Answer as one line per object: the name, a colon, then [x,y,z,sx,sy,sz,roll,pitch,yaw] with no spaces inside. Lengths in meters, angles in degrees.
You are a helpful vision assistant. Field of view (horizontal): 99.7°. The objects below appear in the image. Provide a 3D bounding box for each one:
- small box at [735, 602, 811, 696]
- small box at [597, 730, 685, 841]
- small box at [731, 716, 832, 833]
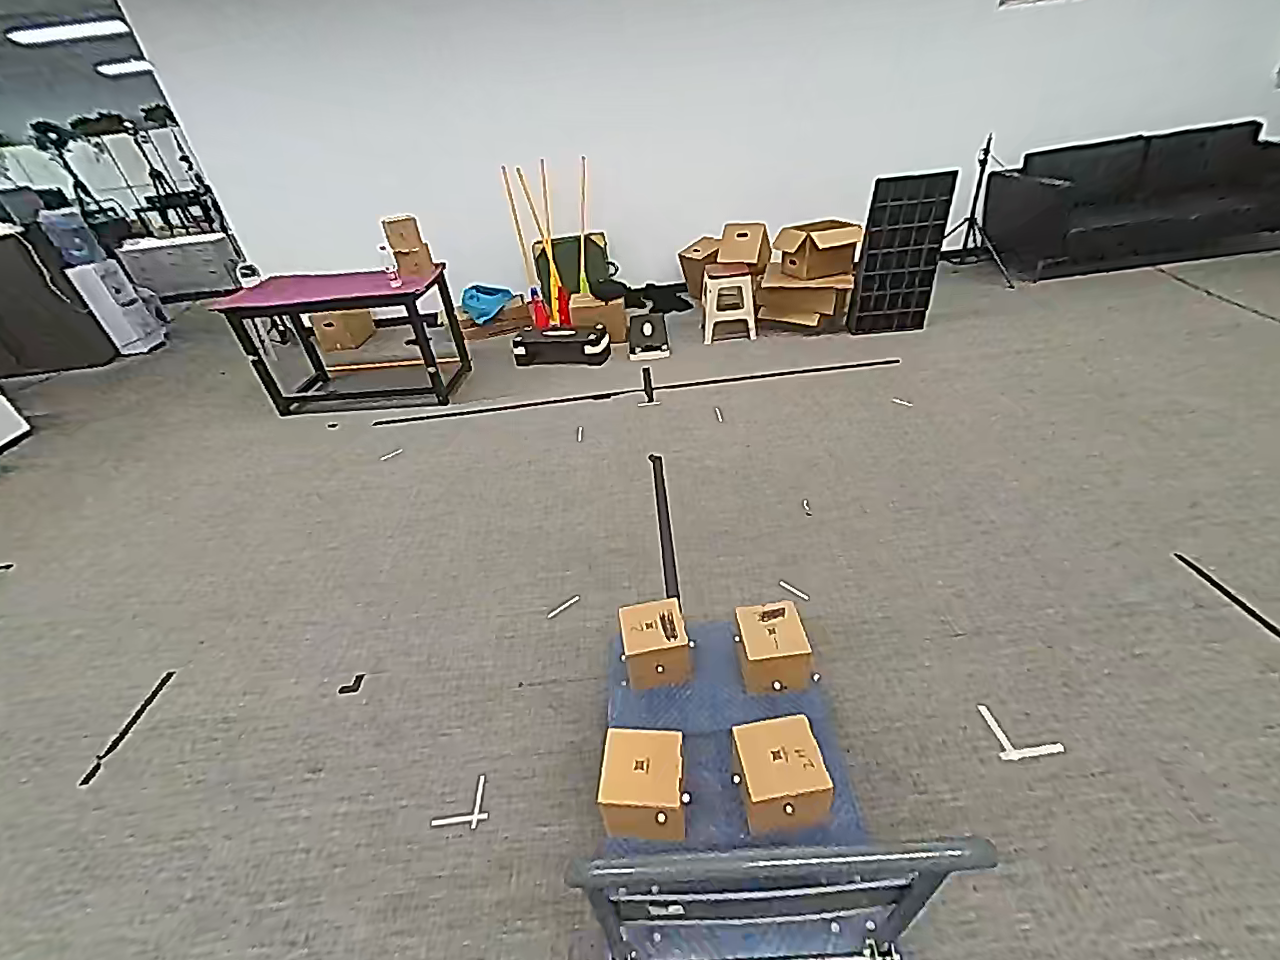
small box: [0.357,0.463,1.487,0.168,0.176,0.179,-8,37,0]
small box: [0.010,0.695,1.230,0.179,0.176,0.168,-1,35,7]
small box: [0.312,0.665,1.217,0.179,0.176,0.168,-9,36,-2]
